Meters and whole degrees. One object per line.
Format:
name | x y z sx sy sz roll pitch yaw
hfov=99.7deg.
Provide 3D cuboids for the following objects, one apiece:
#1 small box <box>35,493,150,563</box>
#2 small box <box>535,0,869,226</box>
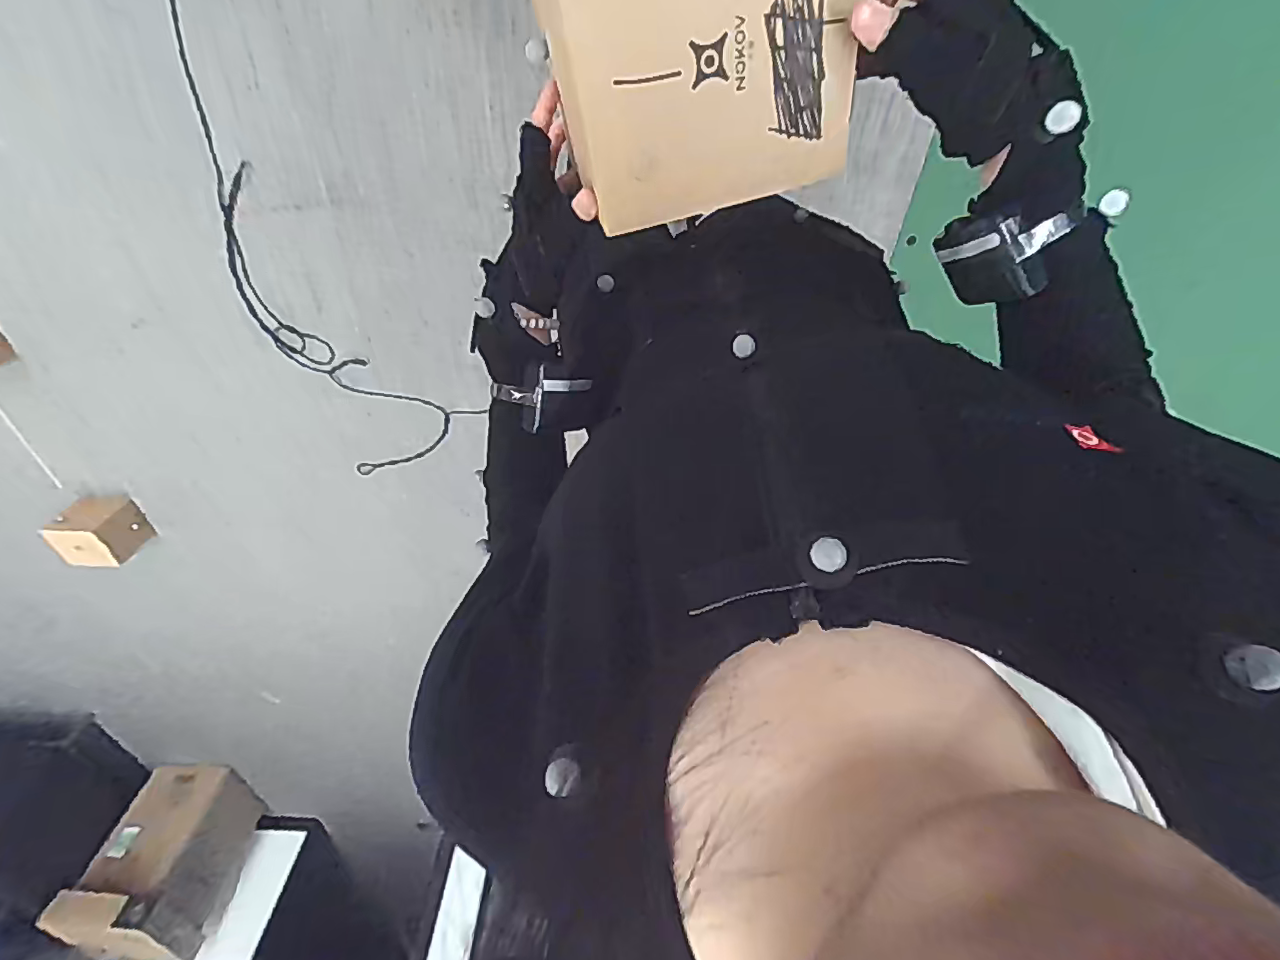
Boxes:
small box | -1.822 0.157 1.812 0.179 0.176 0.168 2 129 0
small box | 0.028 -0.301 0.356 0.179 0.176 0.168 -15 139 -3
